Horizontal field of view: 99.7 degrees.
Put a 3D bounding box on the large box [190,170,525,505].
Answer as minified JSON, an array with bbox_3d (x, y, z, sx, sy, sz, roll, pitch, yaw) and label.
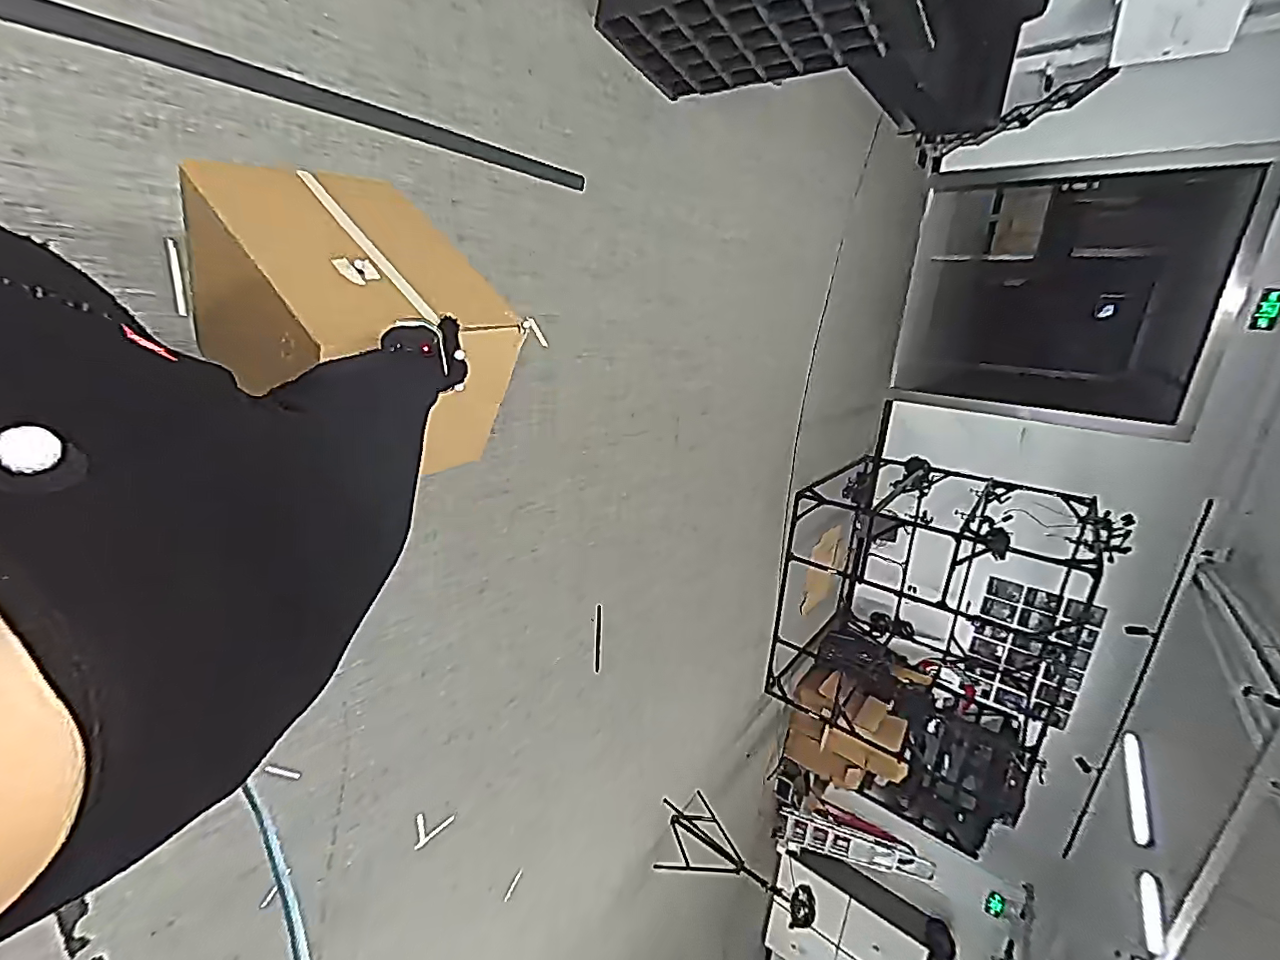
[{"bbox_3d":[-0.474,-0.234,0.900,0.320,0.408,0.320,-25,158,-47],"label":"large box"}]
